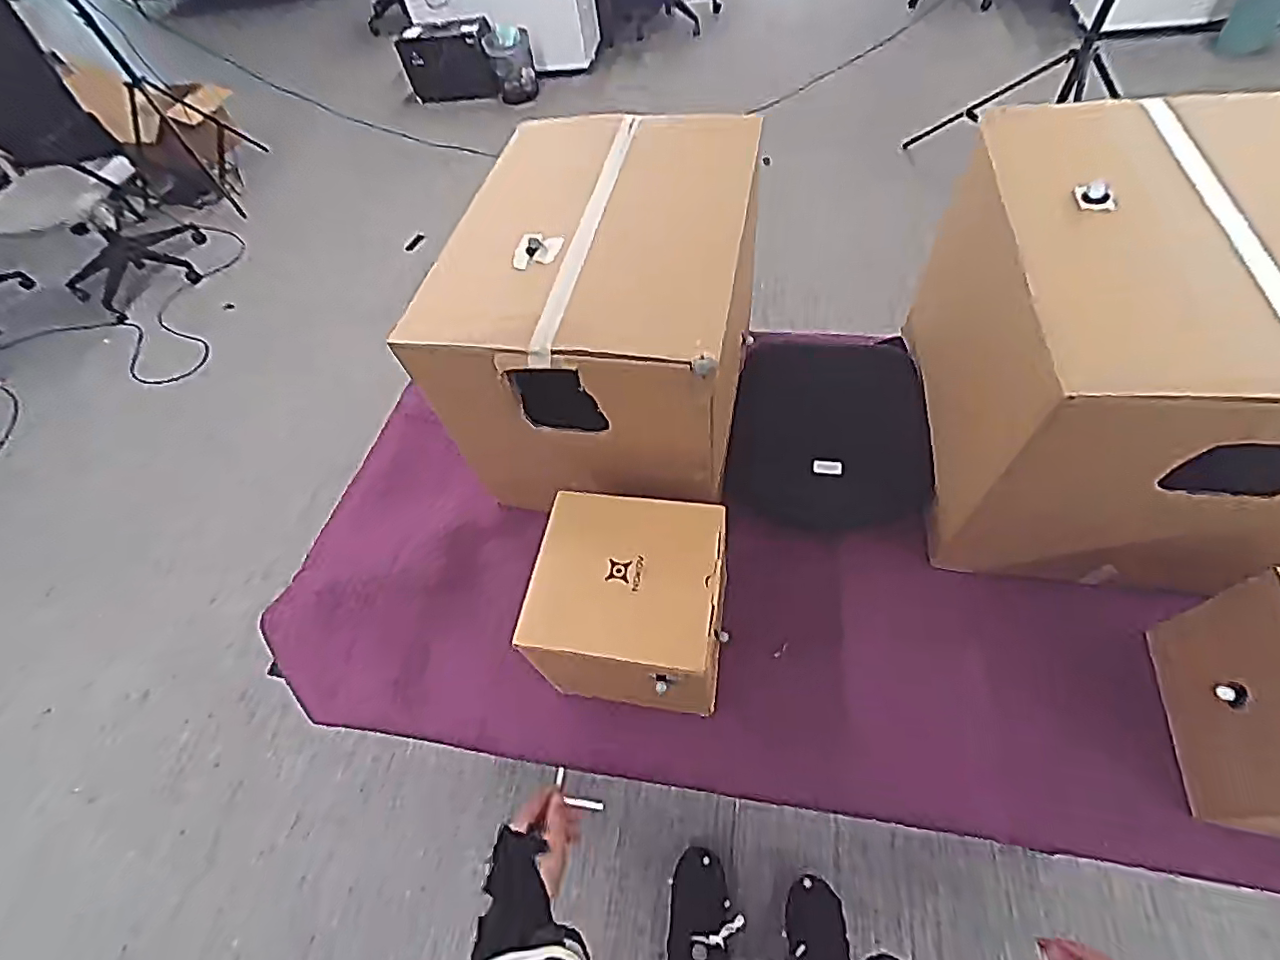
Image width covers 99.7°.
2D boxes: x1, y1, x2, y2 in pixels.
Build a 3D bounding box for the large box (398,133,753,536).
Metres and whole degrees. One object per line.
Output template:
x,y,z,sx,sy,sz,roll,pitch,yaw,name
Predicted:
-0.032,-0.185,0.708,0.320,0.320,0.408,6,61,12,large box
